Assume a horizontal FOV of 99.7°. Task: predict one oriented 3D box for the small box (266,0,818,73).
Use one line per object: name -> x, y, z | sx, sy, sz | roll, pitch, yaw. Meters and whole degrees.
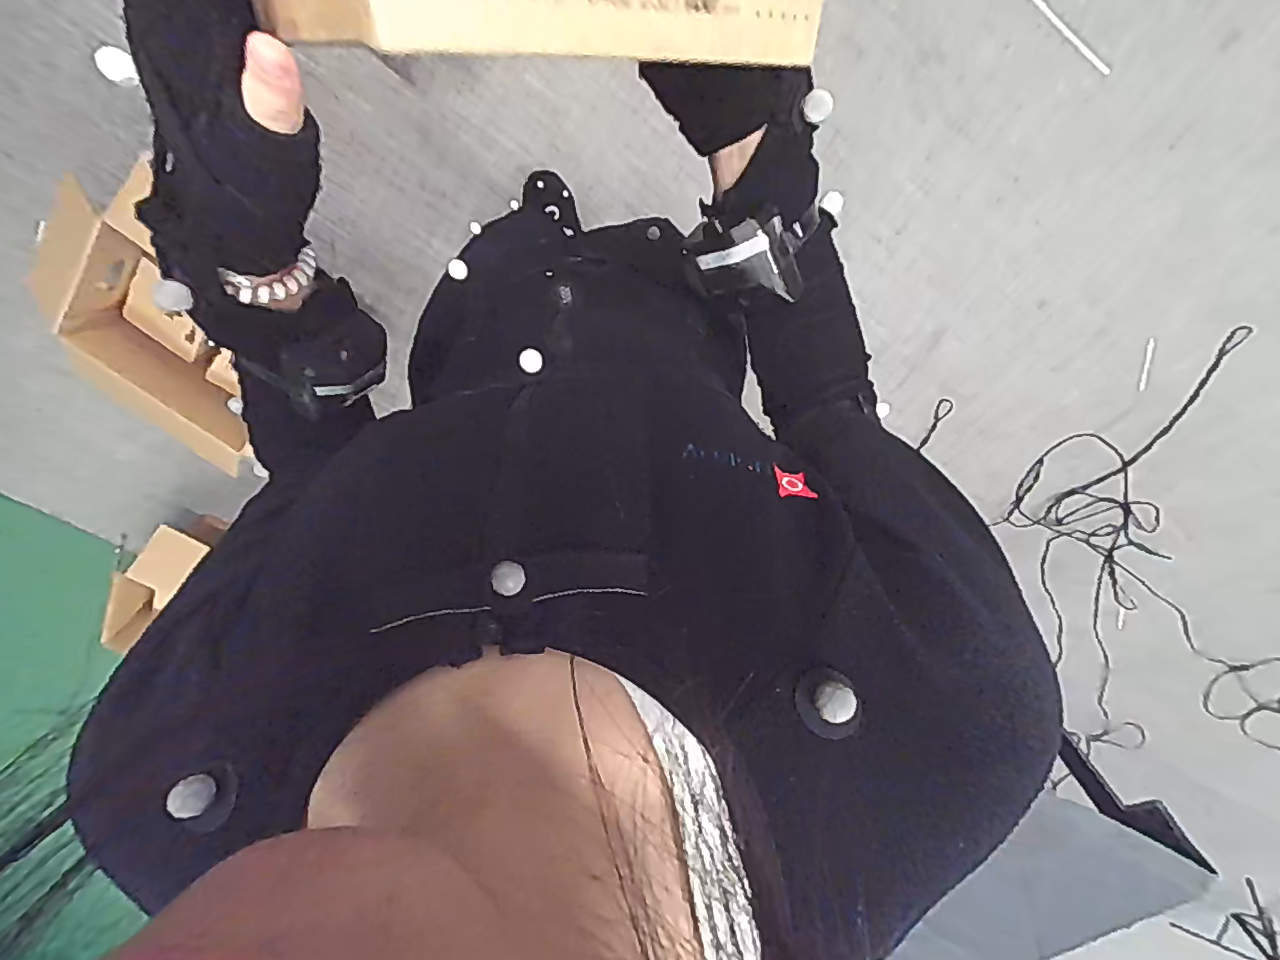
small box -> -0.044, -0.242, 0.174 | 0.168, 0.179, 0.176 | -25, 136, -29
